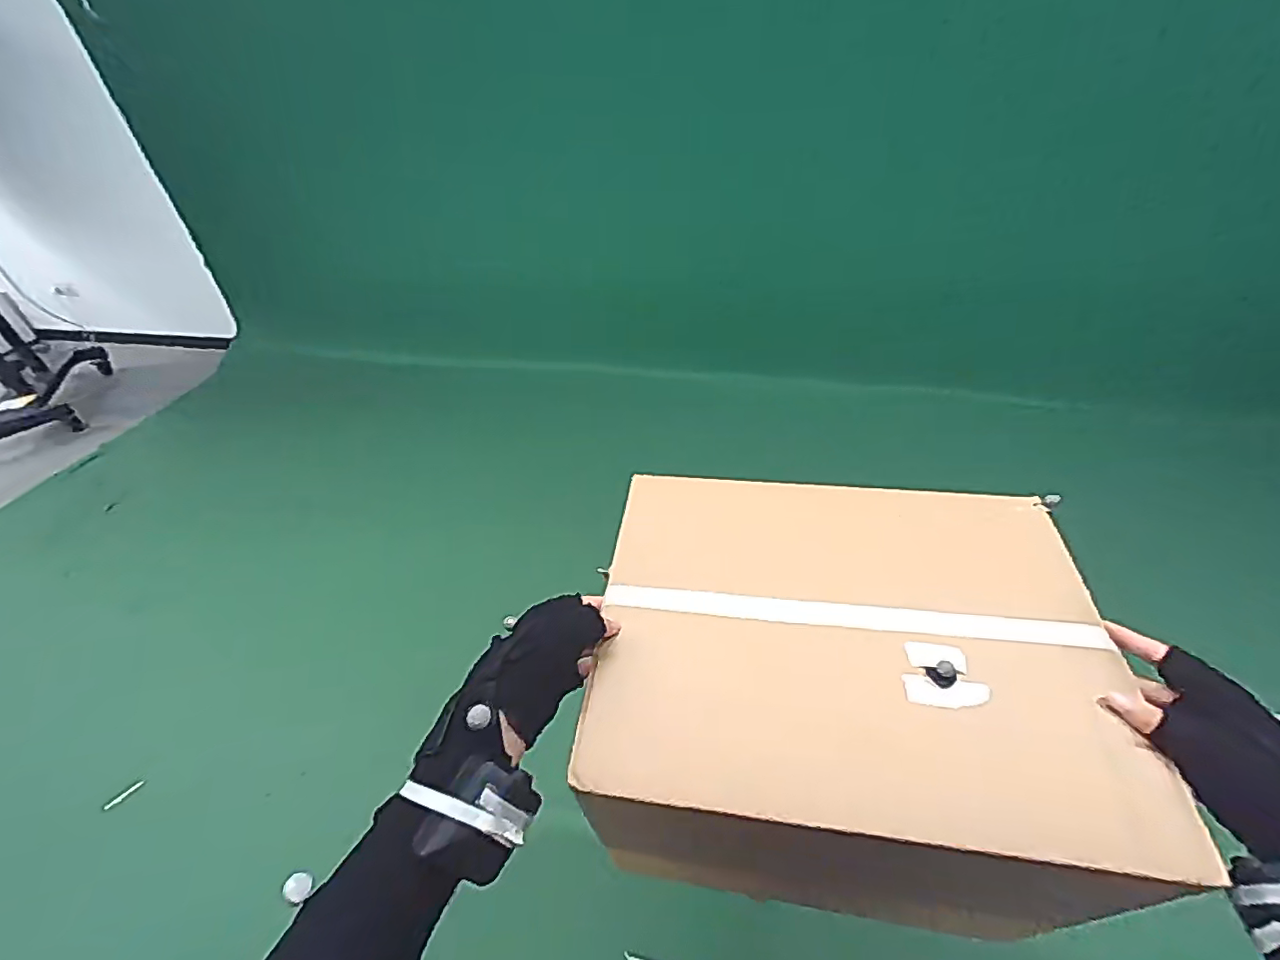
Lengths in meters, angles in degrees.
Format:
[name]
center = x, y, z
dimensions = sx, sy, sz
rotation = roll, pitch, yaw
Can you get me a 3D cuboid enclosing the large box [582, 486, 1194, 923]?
[large box]
center = 0.180, 0.226, 0.571
dimensions = 0.408, 0.320, 0.320
rotation = 3, 46, 9
